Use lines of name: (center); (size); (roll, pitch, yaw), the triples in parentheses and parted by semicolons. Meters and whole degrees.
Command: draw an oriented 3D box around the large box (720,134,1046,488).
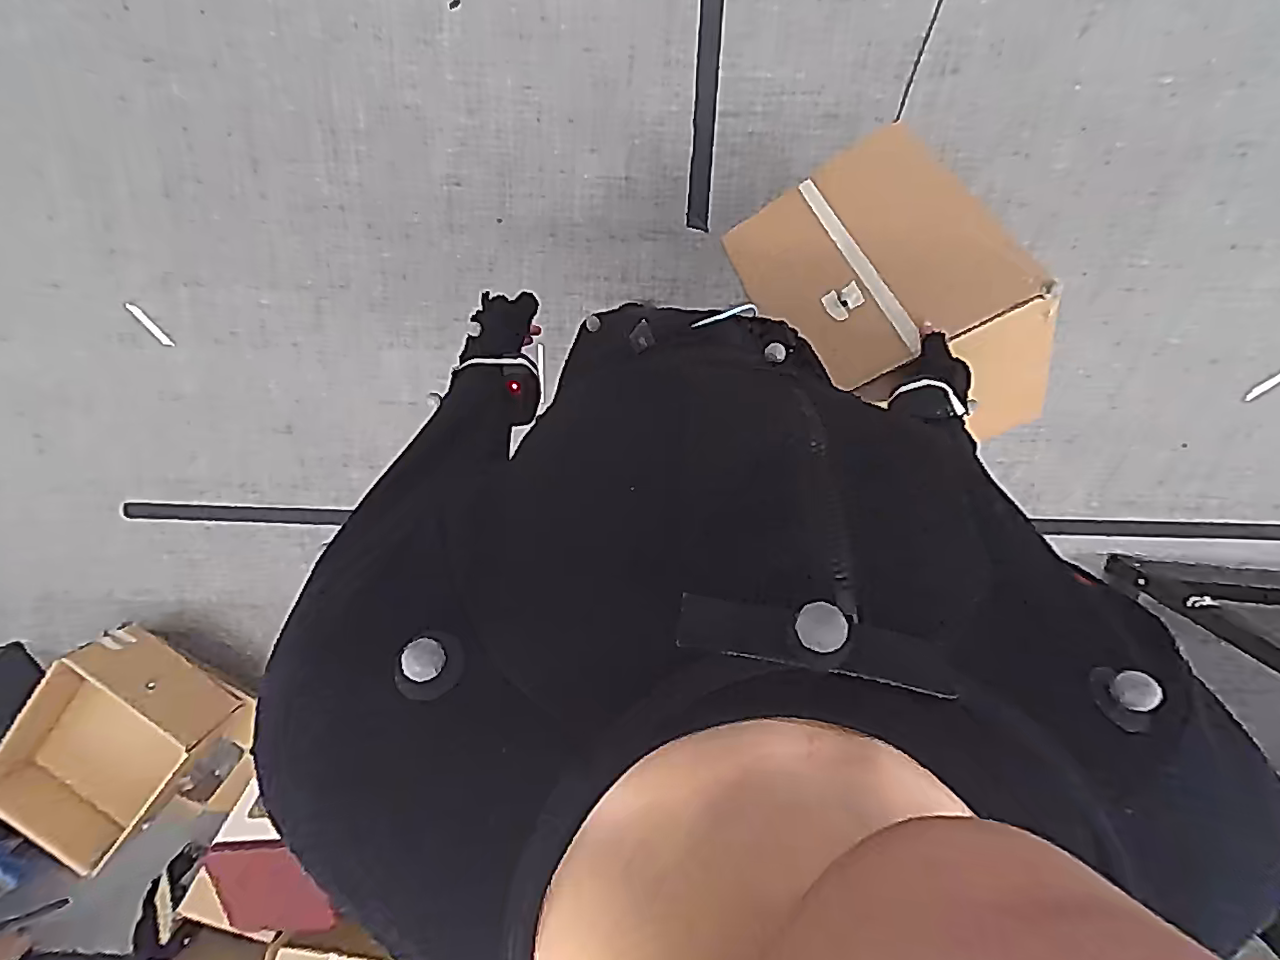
large box: (0.381, -0.262, 0.906); (0.320, 0.408, 0.320); (-28, 146, 20)
